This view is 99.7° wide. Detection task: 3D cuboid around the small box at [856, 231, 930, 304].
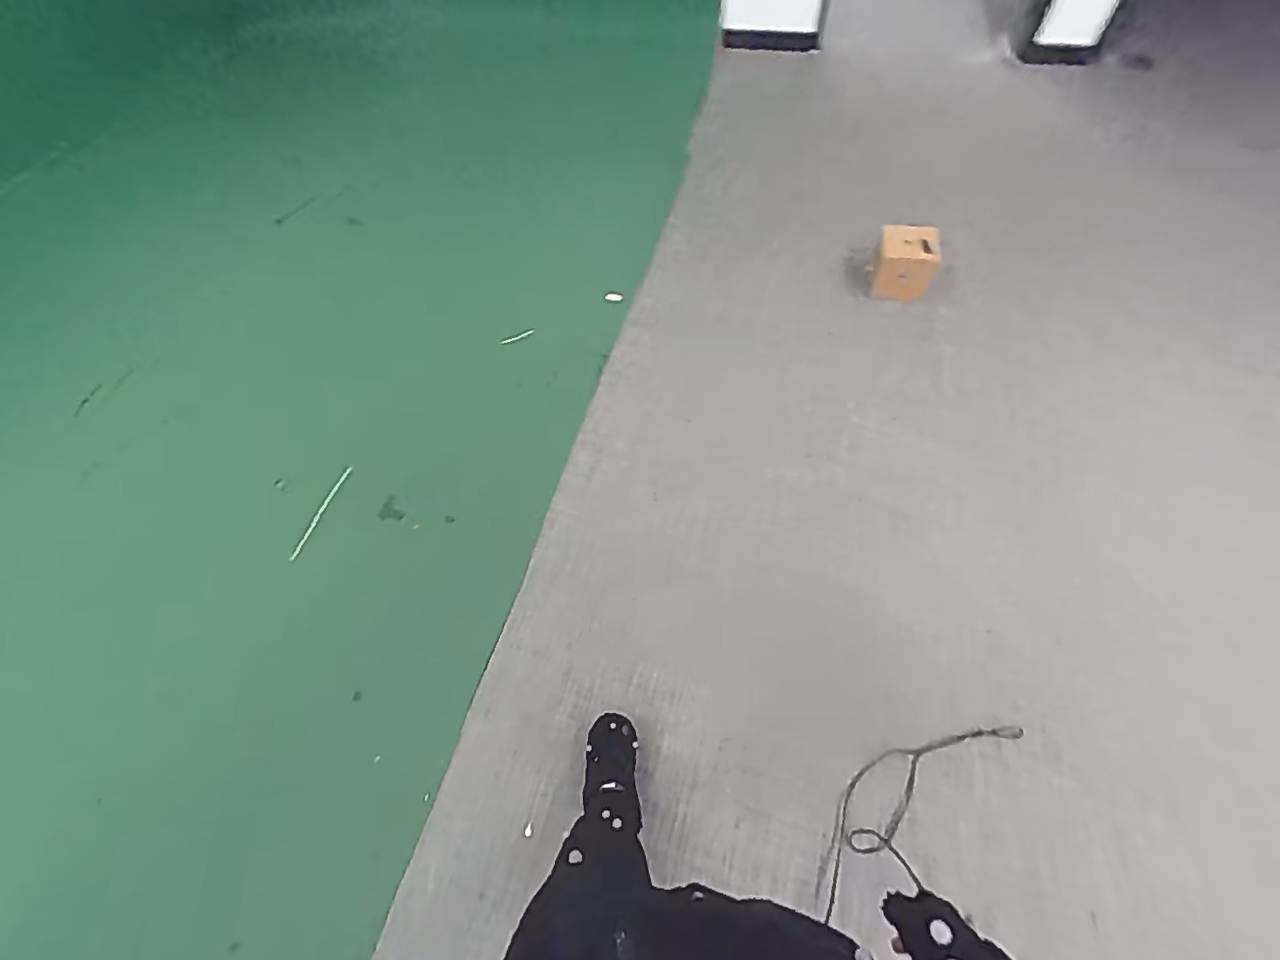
[{"bbox_3d":[0.854,-0.719,1.839,0.179,0.176,0.168,4,61,5],"label":"small box"}]
